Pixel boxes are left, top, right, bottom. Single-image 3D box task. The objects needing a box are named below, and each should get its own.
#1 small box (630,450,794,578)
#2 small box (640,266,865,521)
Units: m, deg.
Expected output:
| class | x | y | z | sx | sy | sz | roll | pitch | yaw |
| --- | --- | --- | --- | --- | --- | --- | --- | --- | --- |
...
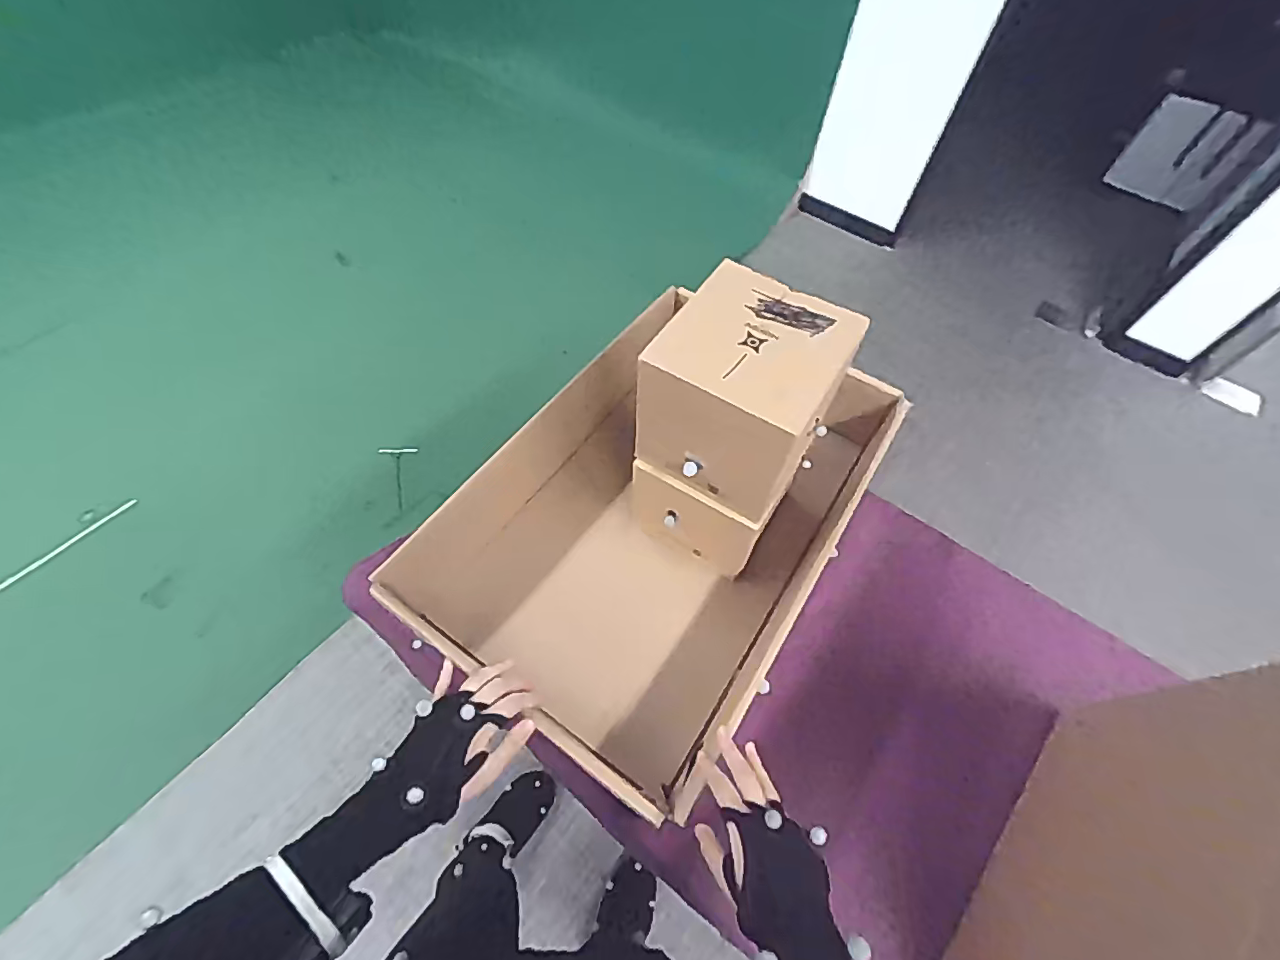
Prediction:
| class | x | y | z | sx | sy | sz | roll | pitch | yaw |
| --- | --- | --- | --- | --- | --- | --- | --- | --- | --- |
| small box | 0.101 | 0.002 | 0.725 | 0.168 | 0.176 | 0.179 | 28 | 62 | 15 |
| small box | 0.109 | -0.090 | 0.589 | 0.168 | 0.176 | 0.179 | 29 | 63 | 16 |
